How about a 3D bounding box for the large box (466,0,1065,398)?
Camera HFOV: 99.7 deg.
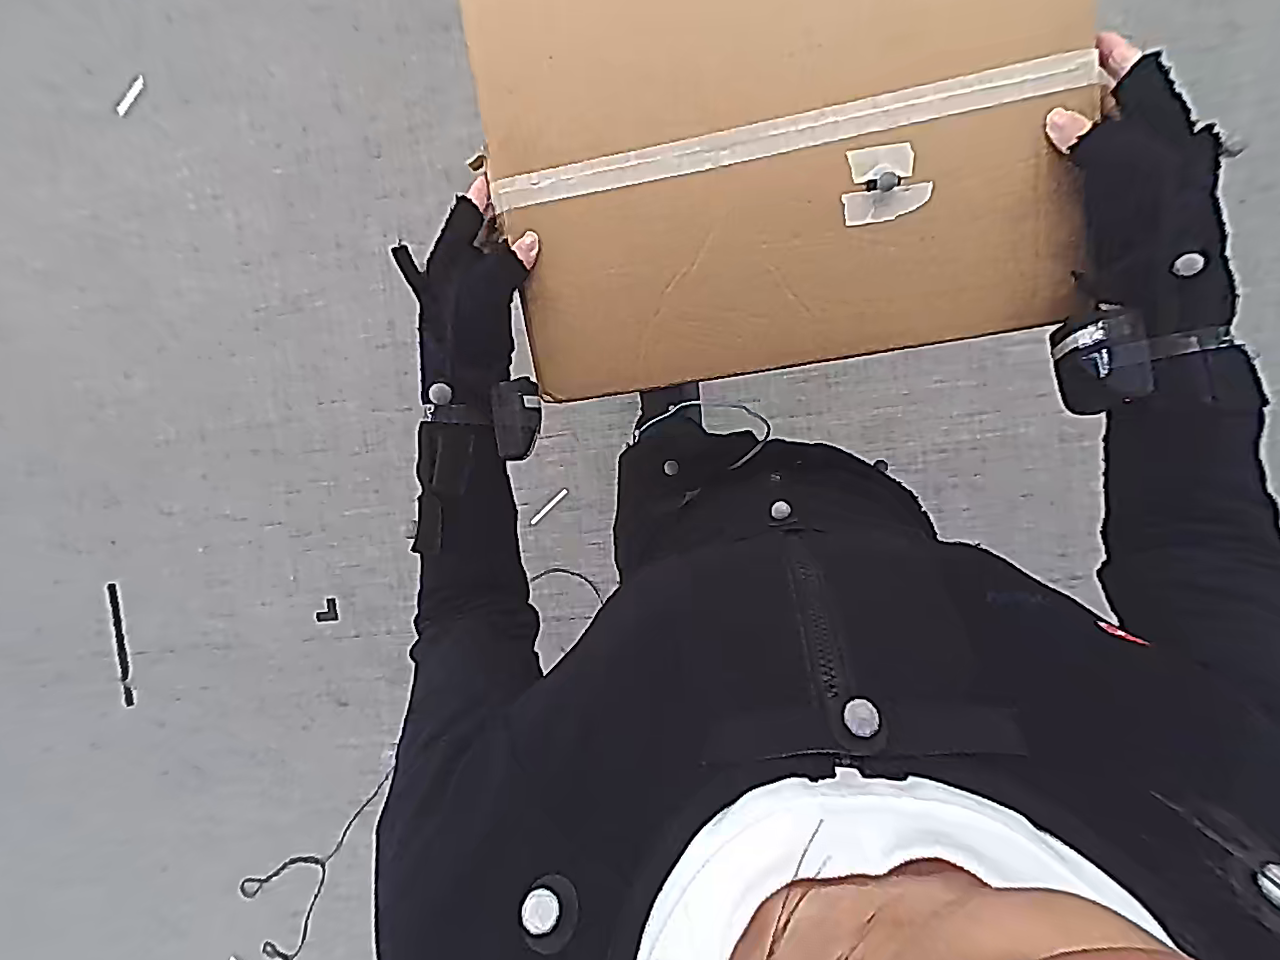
[{"bbox_3d":[0.104,-0.276,0.536,0.408,0.320,0.320,-8,103,7],"label":"large box"}]
